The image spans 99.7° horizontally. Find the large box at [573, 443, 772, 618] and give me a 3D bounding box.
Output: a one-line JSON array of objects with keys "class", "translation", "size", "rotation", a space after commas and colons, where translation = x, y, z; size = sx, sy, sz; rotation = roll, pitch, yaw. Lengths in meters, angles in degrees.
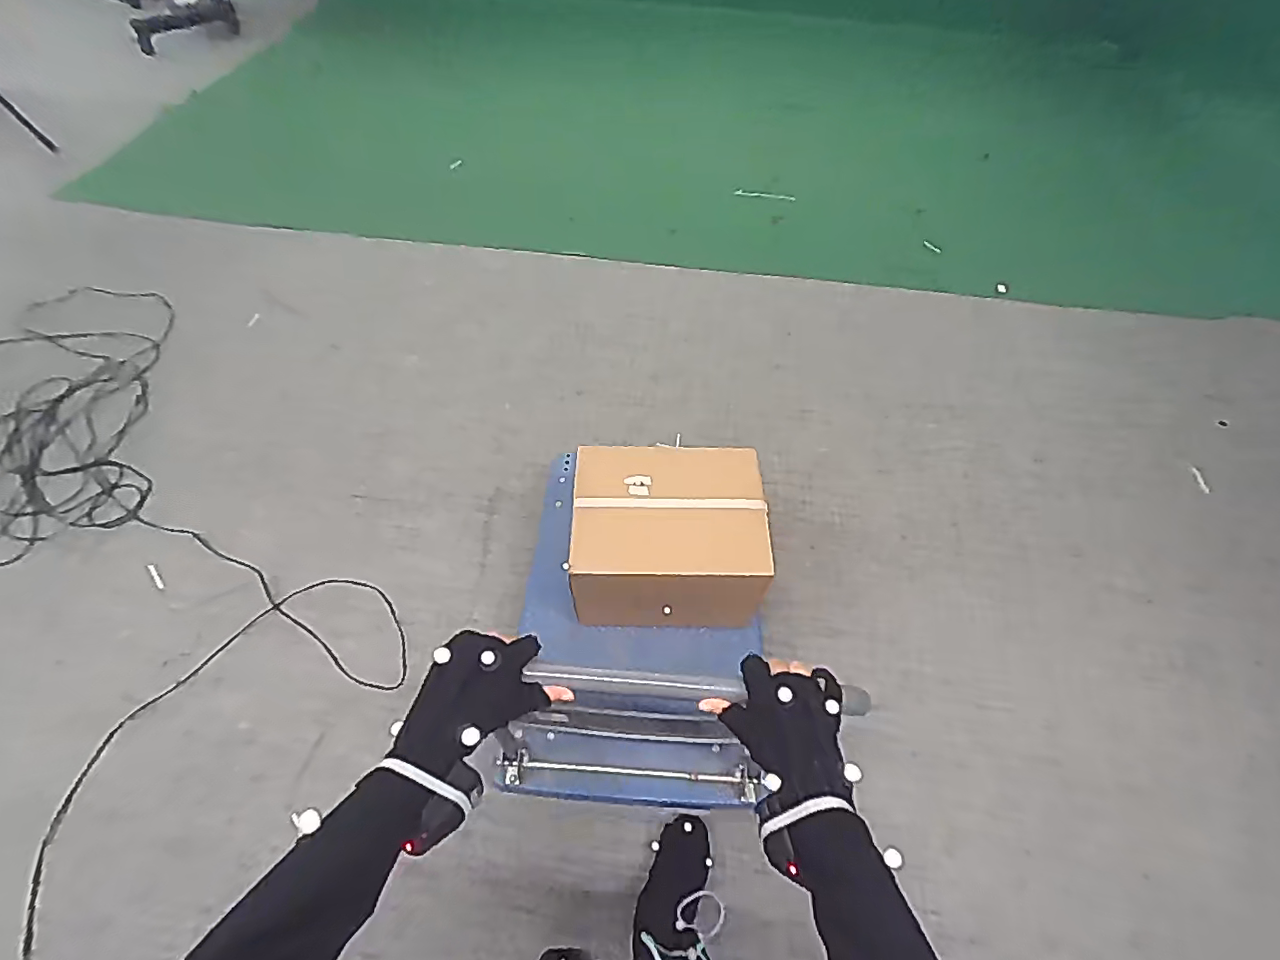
[{"class": "large box", "translation": [0.062, 0.129, 1.275], "size": [0.408, 0.320, 0.320], "rotation": [-1, 57, -1]}]
